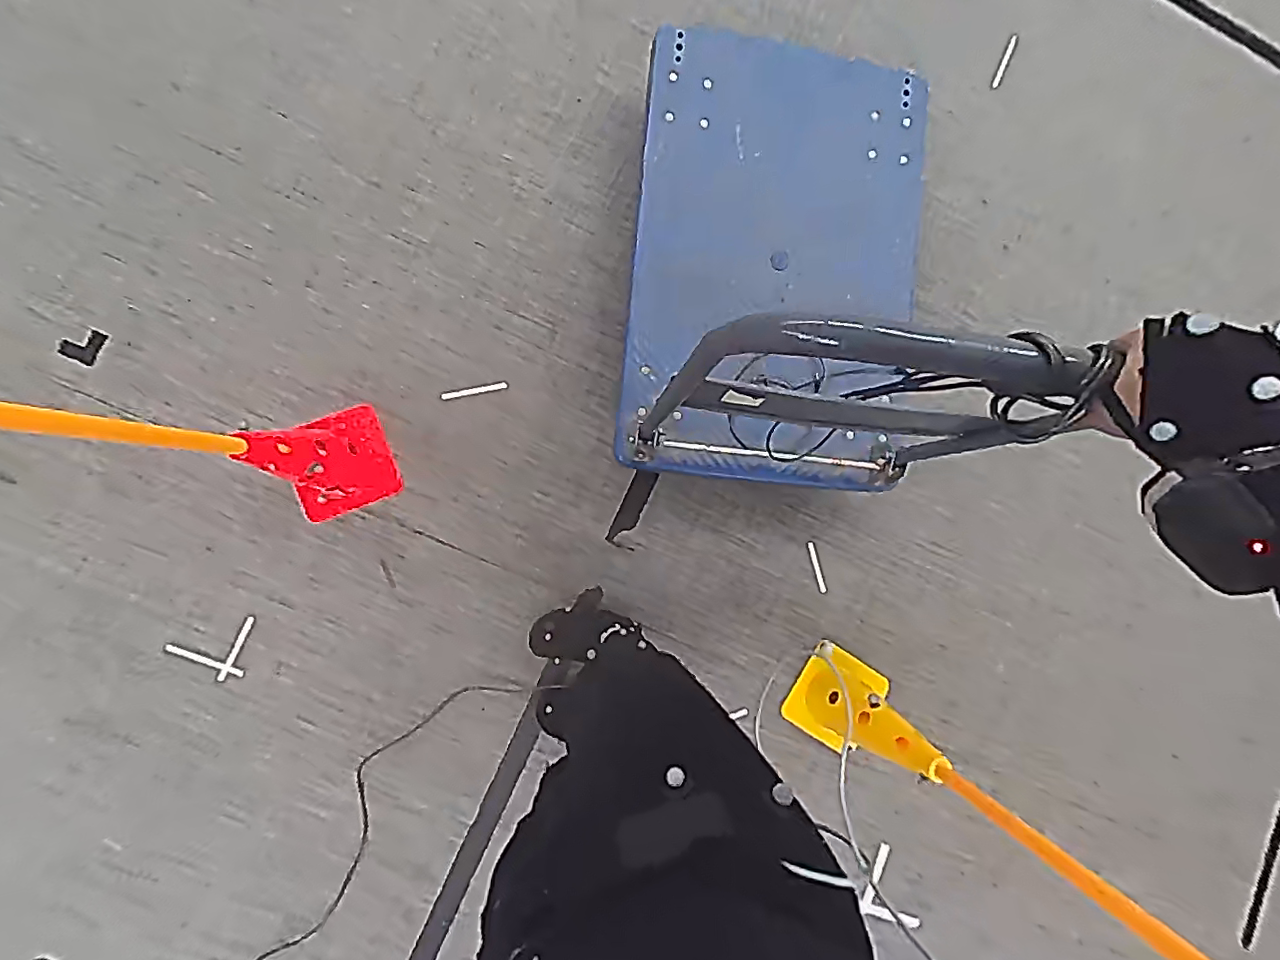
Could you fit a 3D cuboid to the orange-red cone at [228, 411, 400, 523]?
[{"bbox_3d":[-0.589,-0.036,0.938,0.199,0.360,0.198,-20,91,-9],"label":"orange-red cone"}]
